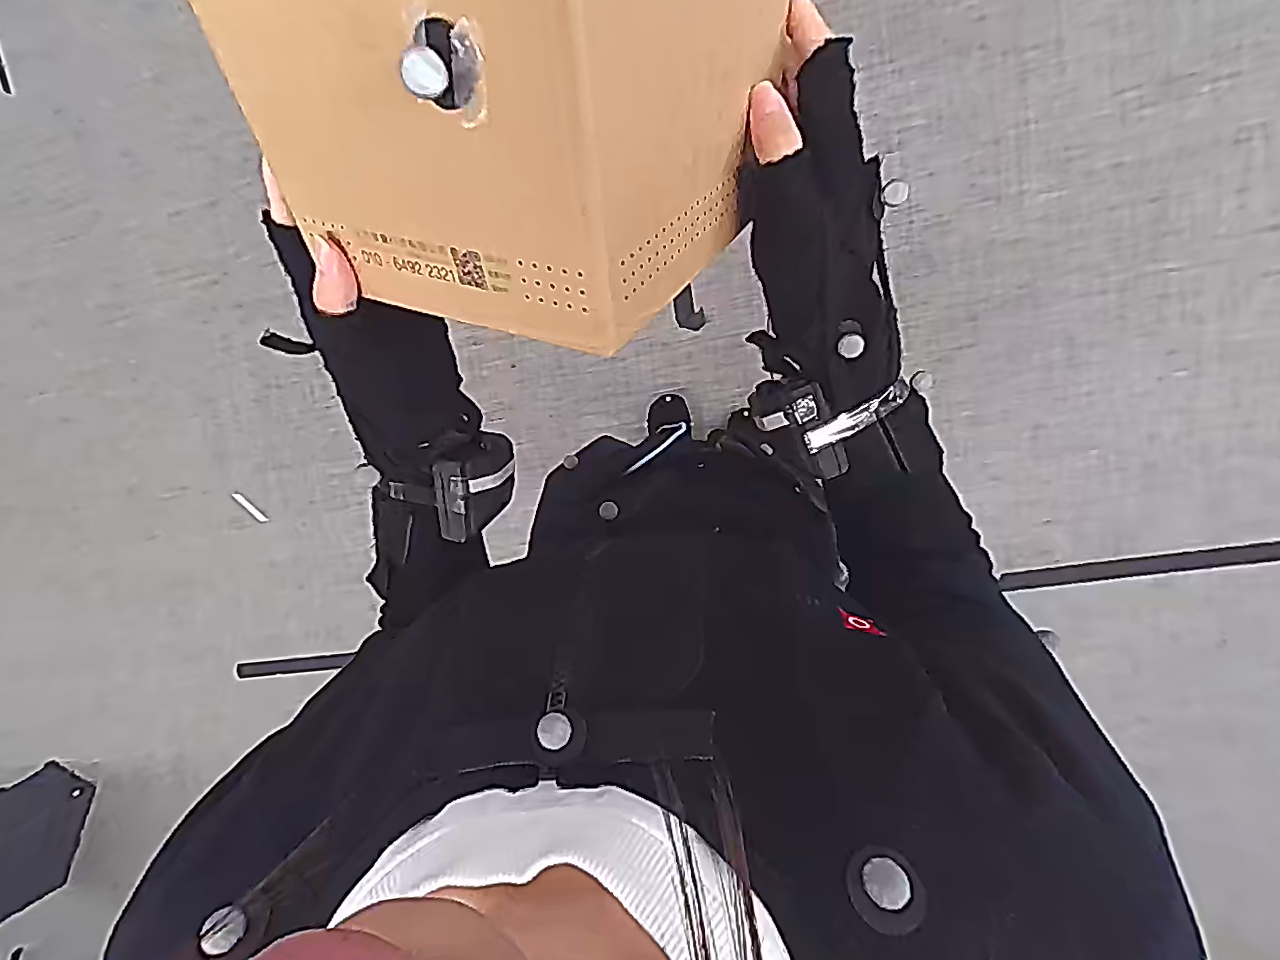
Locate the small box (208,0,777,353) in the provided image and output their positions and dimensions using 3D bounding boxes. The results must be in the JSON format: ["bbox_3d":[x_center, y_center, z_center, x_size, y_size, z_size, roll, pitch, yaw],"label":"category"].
[{"bbox_3d":[-0.043,-0.178,0.233,0.168,0.179,0.176,19,140,22],"label":"small box"}]
